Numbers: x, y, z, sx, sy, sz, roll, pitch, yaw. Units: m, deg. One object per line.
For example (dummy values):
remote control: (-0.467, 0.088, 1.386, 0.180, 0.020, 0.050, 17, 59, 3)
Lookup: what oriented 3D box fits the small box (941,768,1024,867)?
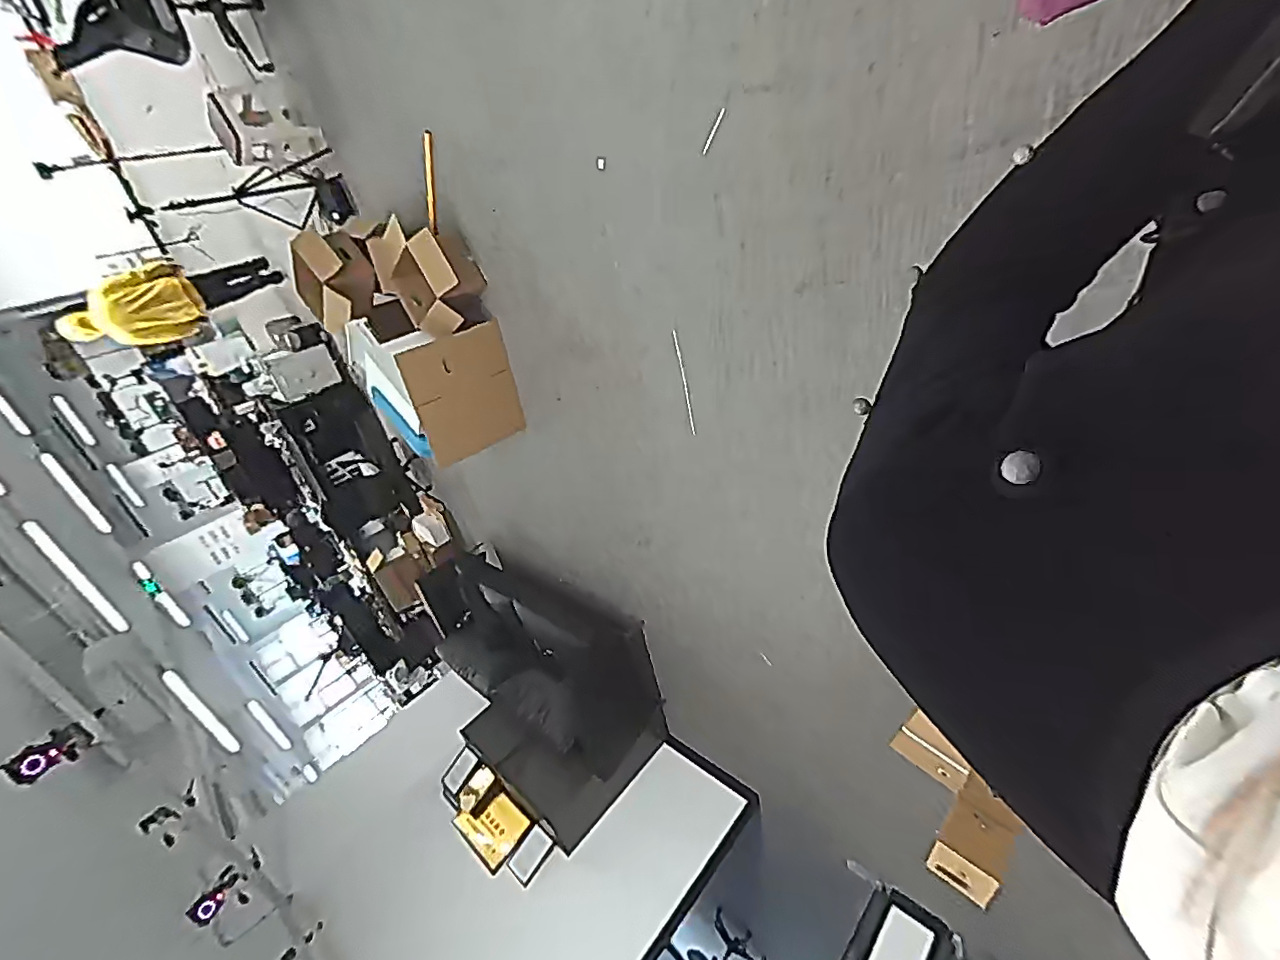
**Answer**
small box: (1.095, 1.069, 1.725, 0.168, 0.176, 0.179, 26, 134, 36)
